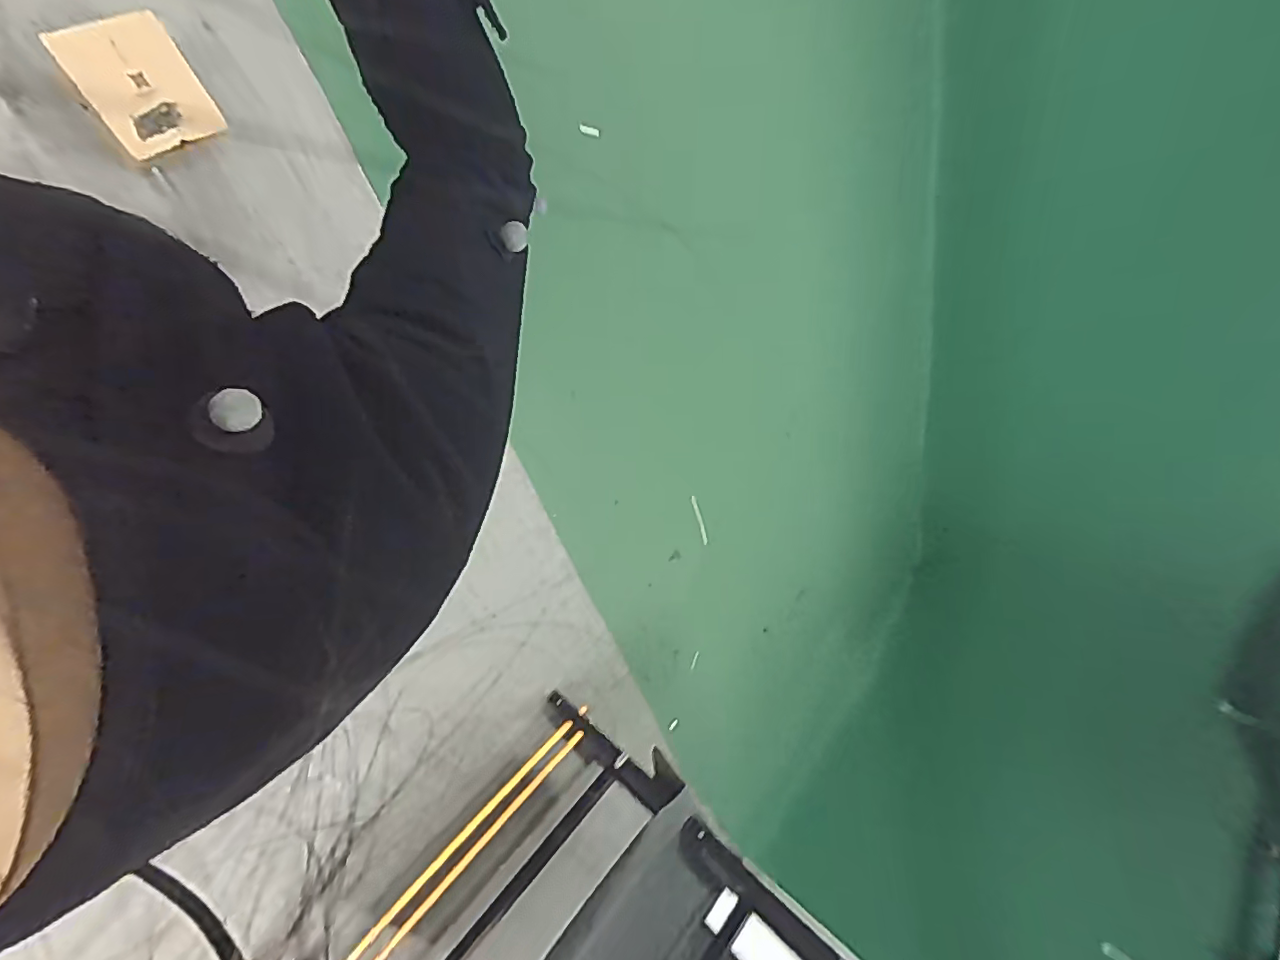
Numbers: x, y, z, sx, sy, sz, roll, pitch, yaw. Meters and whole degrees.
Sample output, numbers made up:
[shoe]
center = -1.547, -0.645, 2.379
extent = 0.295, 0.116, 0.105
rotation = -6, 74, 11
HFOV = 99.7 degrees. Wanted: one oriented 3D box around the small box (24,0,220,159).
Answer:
[small box]
center = -0.878, -0.674, 0.929
extent = 0.168, 0.176, 0.179
rotation = -43, 132, -26
